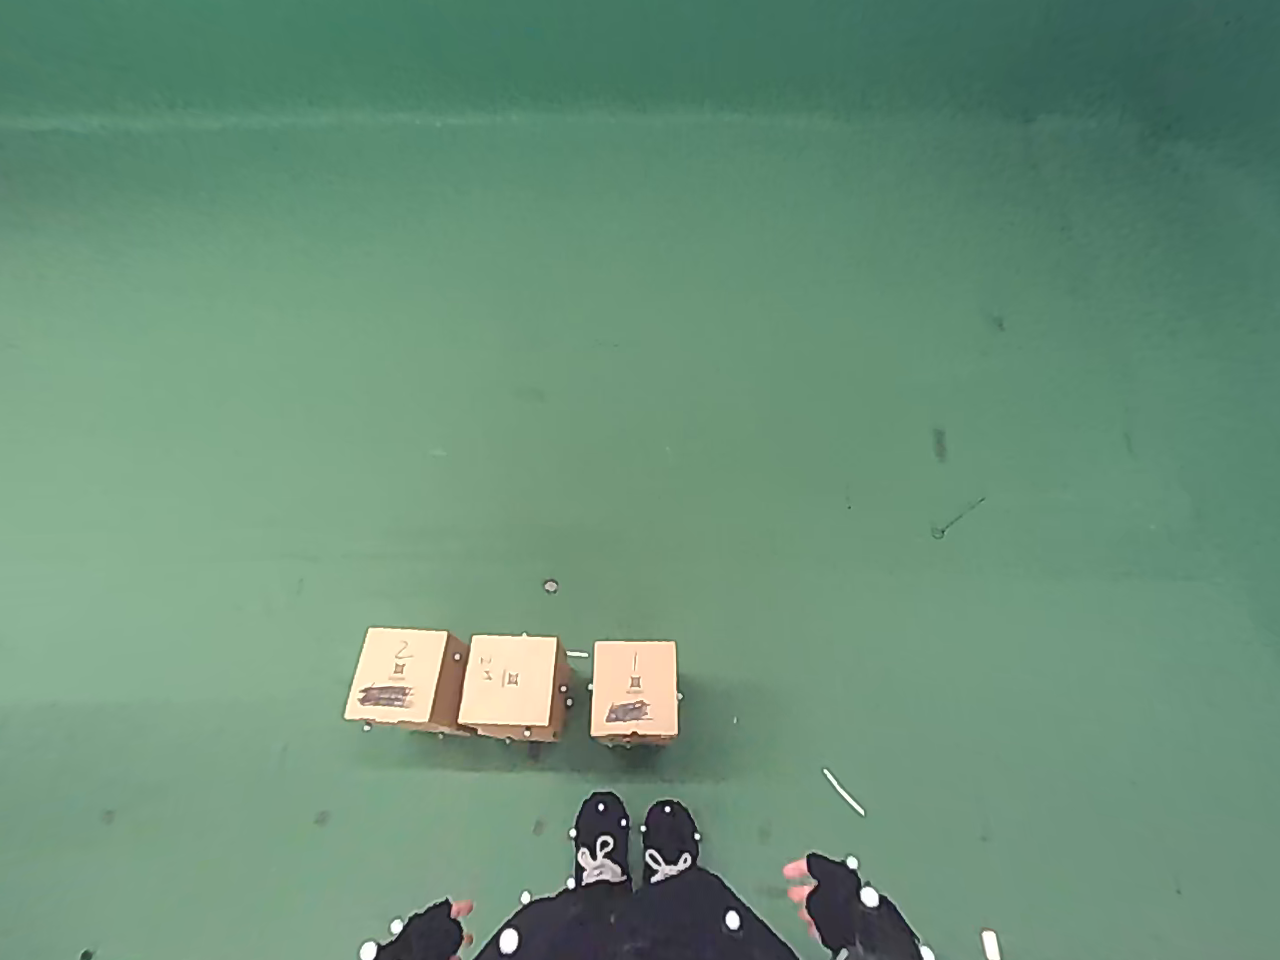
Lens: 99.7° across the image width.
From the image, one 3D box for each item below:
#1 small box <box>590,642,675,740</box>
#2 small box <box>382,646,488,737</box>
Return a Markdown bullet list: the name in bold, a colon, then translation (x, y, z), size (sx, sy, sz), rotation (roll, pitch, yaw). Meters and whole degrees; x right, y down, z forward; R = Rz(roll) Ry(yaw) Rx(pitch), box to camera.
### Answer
- **small box**: translation (-0.011, 0.444, 1.127), size (0.168, 0.176, 0.179), rotation (0, 61, 0)
- **small box**: translation (-0.476, 0.506, 1.285), size (0.168, 0.176, 0.179), rotation (4, 62, 3)
